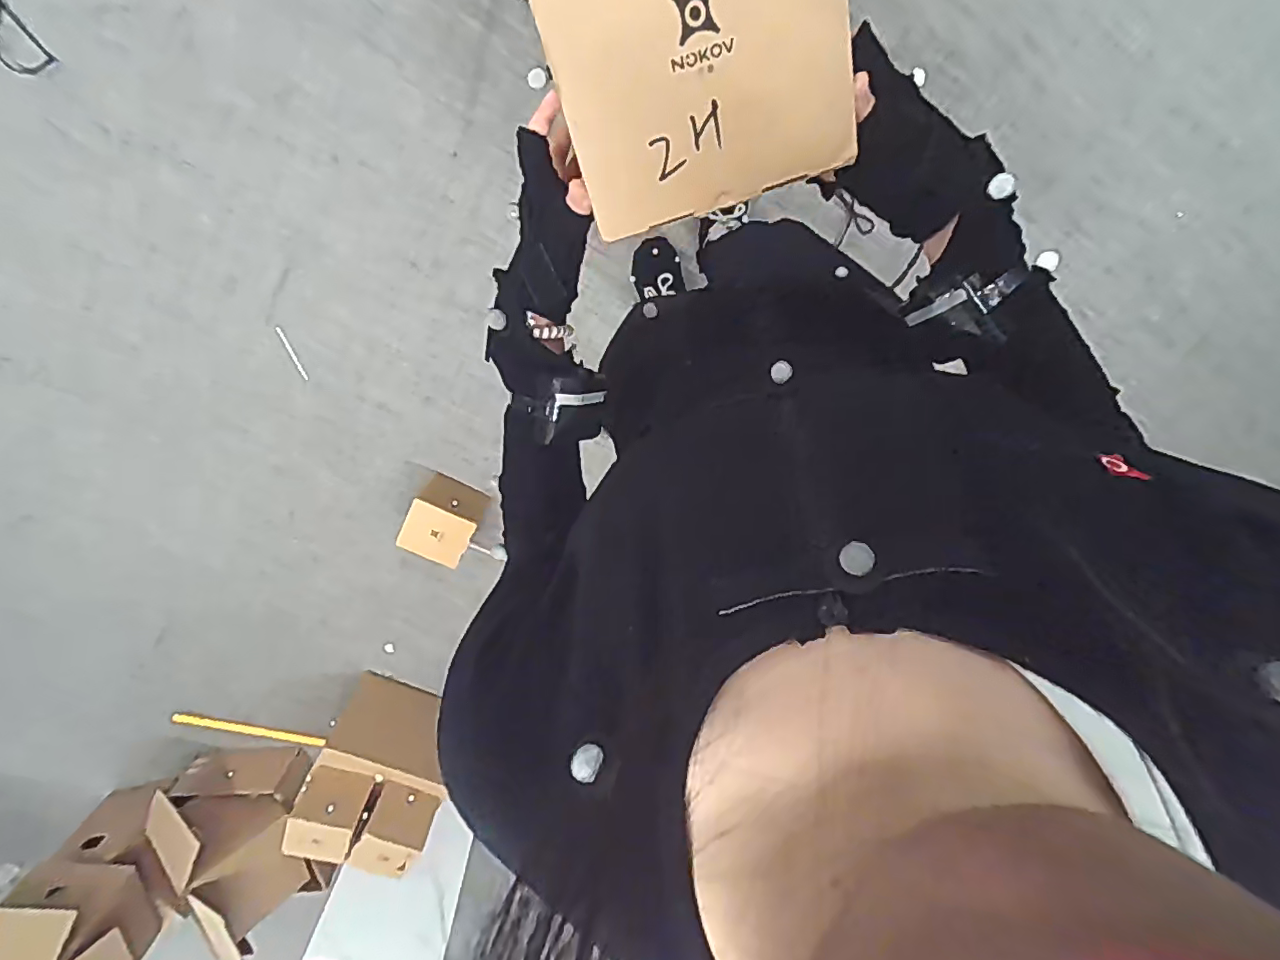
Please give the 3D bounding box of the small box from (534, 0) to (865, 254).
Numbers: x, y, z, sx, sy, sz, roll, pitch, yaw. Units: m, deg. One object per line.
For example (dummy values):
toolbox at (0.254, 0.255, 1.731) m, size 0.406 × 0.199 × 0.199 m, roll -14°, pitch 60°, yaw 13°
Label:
small box at (0.029, -0.272, 0.358) m, size 0.168 × 0.176 × 0.179 m, roll -16°, pitch 121°, yaw 6°

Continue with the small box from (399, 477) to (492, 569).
small box at (-0.540, 0.112, 1.518) m, size 0.179 × 0.176 × 0.168 m, roll 26°, pitch 112°, yaw -14°
